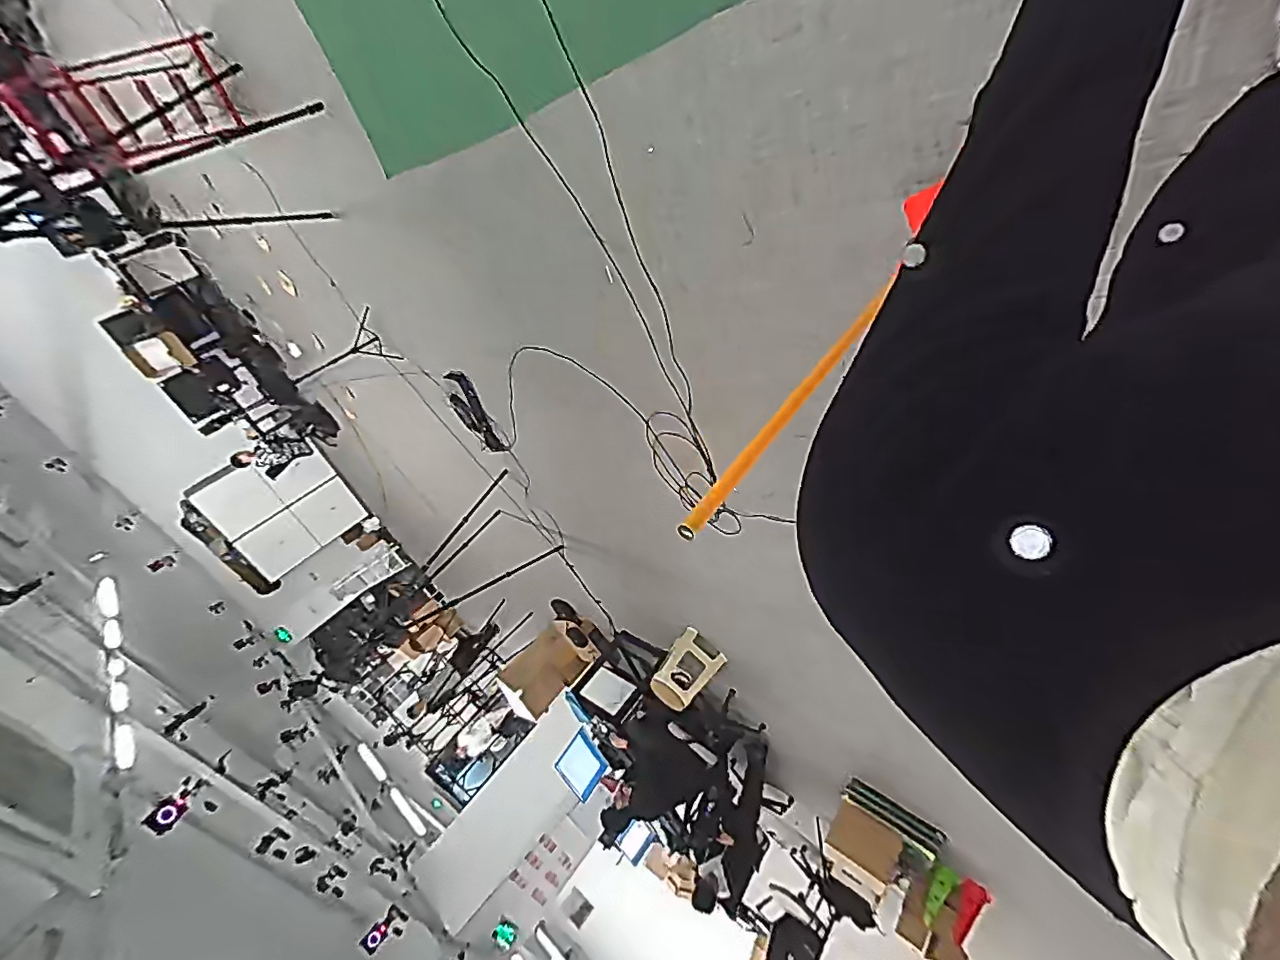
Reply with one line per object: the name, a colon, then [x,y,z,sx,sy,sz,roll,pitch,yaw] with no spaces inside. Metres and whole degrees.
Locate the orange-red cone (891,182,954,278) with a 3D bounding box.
orange-red cone: [0.675,-0.534,1.266,0.199,0.360,0.198,-3,124,54]

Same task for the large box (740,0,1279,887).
large box: [0.294,0.003,0.205,0.408,0.320,0.320,32,179,10]
